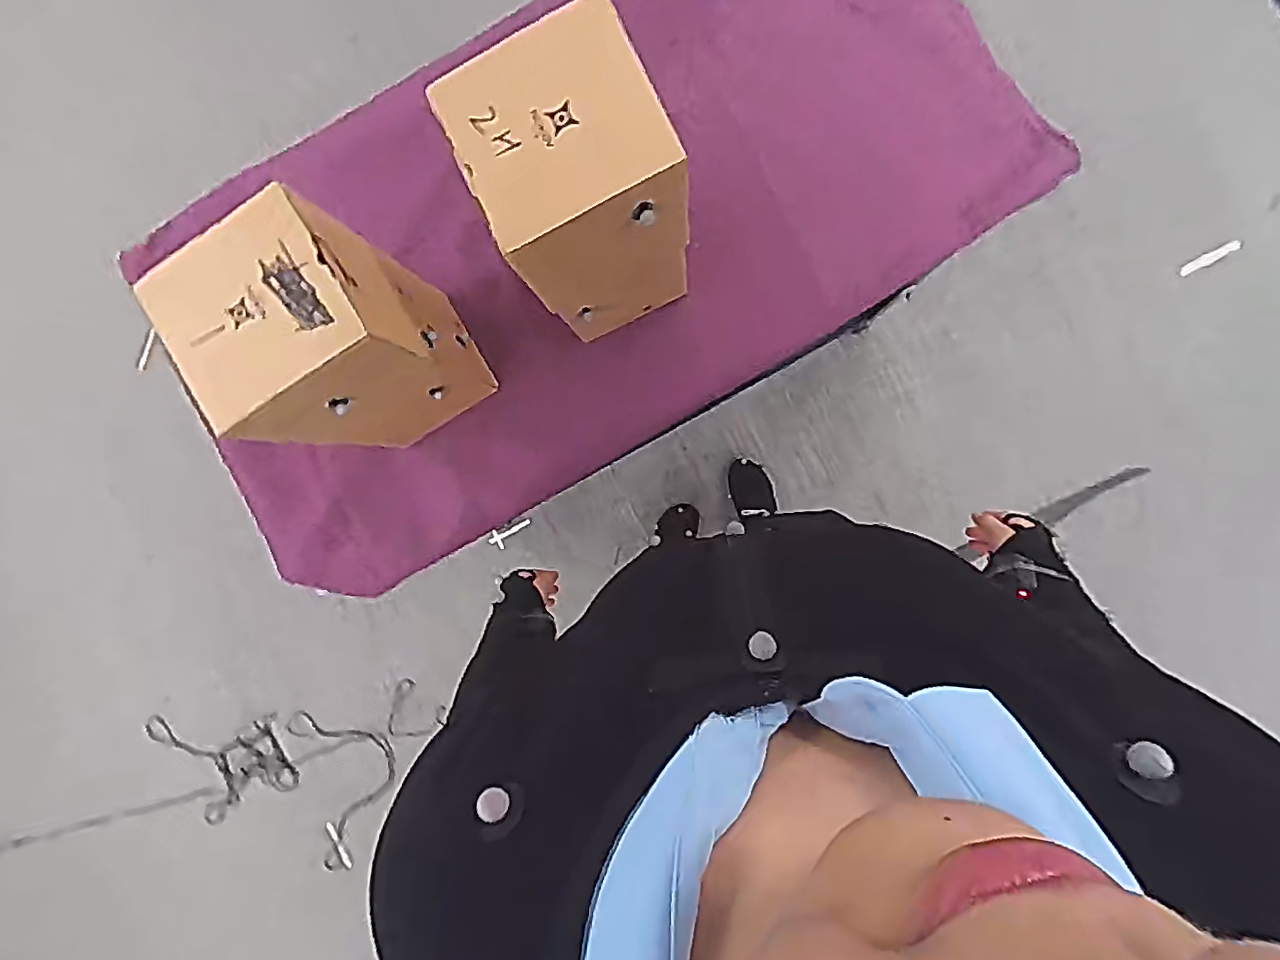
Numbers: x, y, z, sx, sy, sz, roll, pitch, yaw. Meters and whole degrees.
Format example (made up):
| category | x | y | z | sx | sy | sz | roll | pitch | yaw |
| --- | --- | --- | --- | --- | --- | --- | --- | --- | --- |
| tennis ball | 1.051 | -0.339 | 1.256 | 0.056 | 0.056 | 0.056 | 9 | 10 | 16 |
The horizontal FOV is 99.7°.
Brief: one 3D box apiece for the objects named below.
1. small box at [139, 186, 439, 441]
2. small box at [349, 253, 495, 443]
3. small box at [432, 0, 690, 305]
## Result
| category | x | y | z | sx | sy | sz | roll | pitch | yaw |
| --- | --- | --- | --- | --- | --- | --- | --- | --- | --- |
| small box | -0.341 | -0.155 | 0.568 | 0.179 | 0.176 | 0.168 | -32 | 88 | 5 |
| small box | -0.329 | -0.161 | 0.732 | 0.179 | 0.176 | 0.168 | -32 | 88 | 5 |
| small box | -0.062 | -0.303 | 0.536 | 0.179 | 0.176 | 0.168 | -26 | 88 | 6 |
